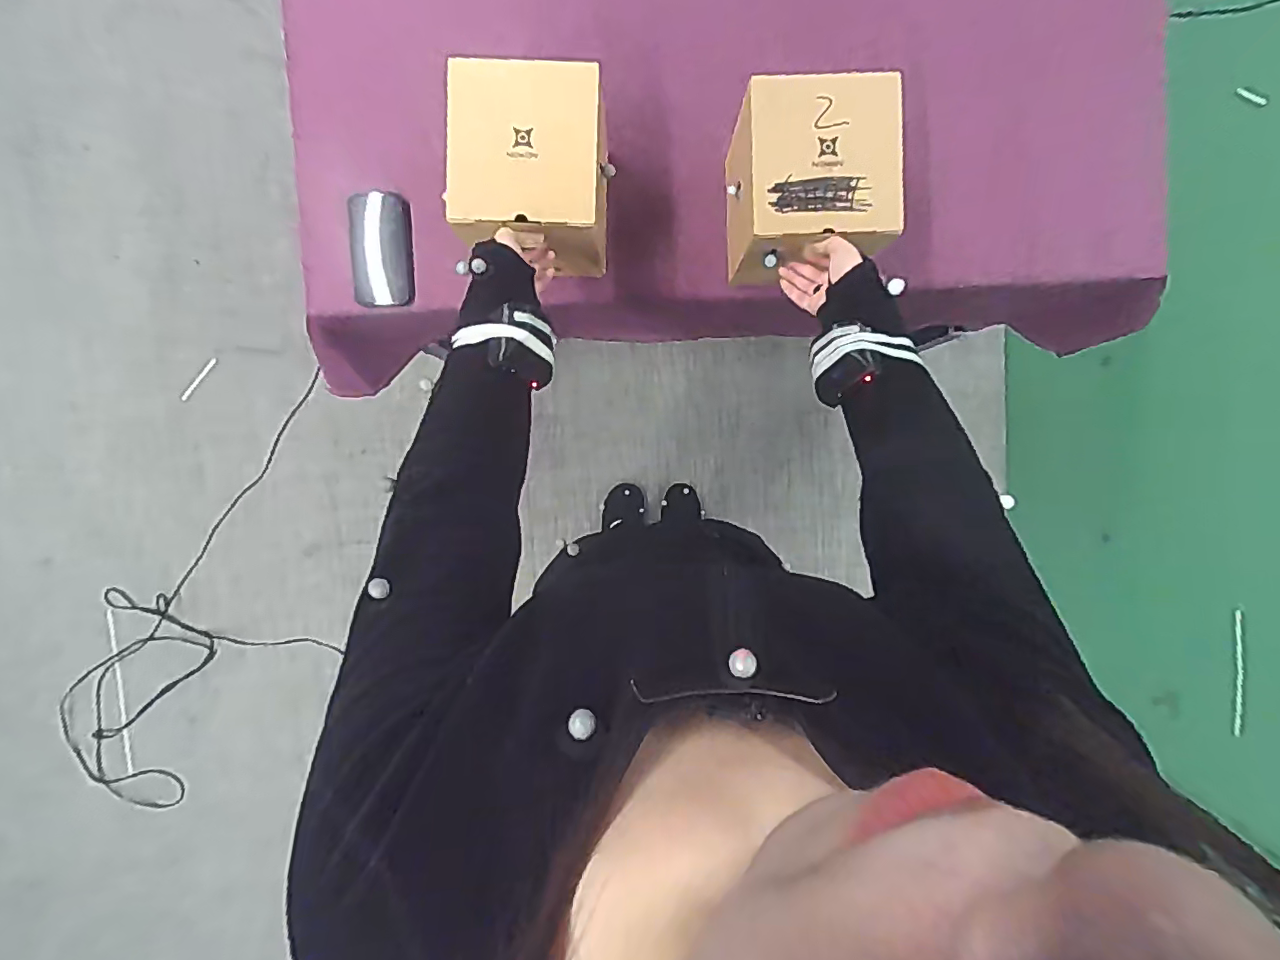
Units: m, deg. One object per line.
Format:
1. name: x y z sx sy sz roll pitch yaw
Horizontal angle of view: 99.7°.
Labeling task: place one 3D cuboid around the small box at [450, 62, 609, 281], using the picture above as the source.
1. small box: -0.125 -0.365 0.668 0.168 0.176 0.179 2 93 -1
